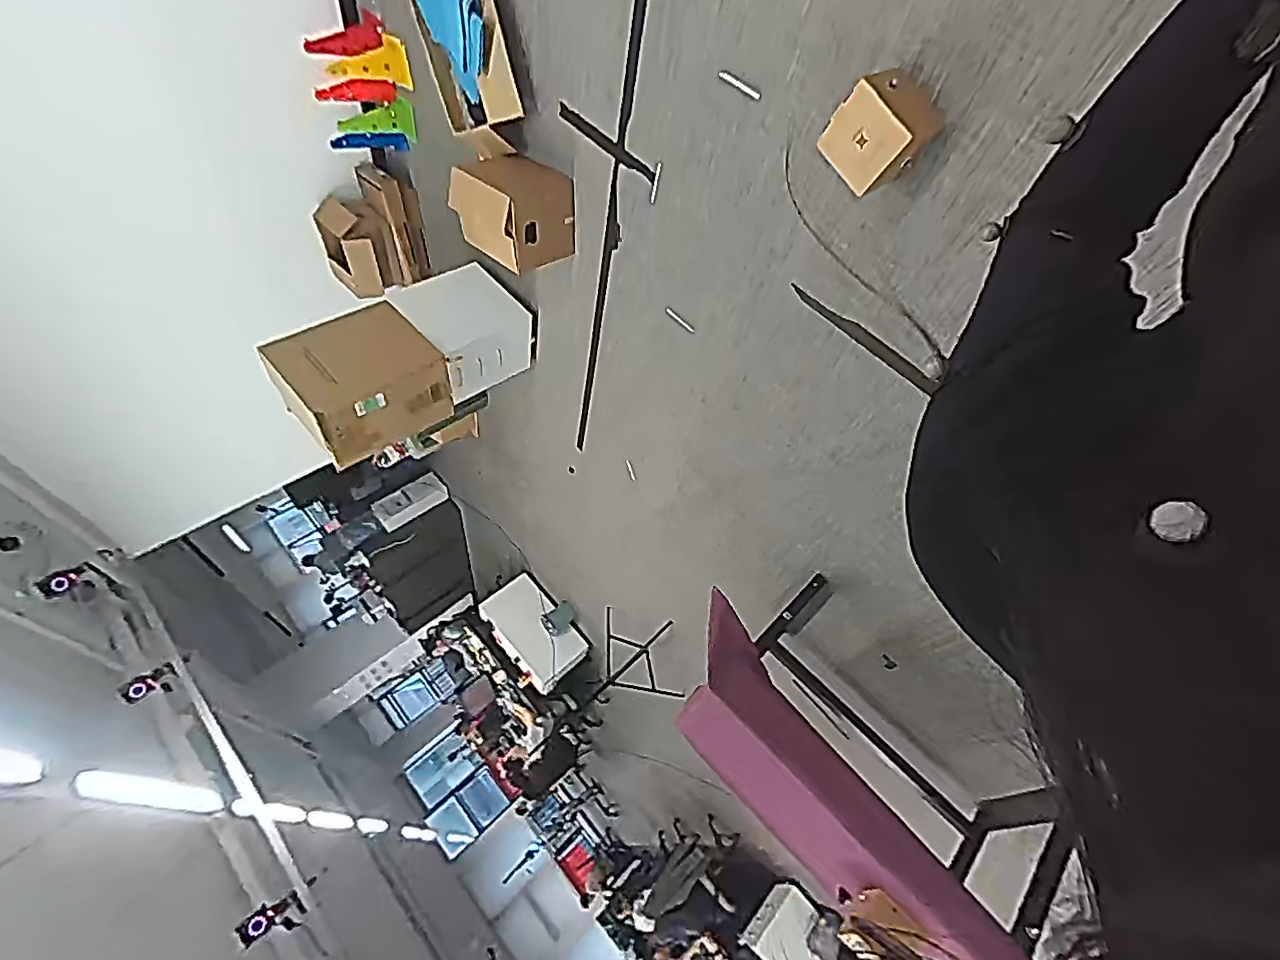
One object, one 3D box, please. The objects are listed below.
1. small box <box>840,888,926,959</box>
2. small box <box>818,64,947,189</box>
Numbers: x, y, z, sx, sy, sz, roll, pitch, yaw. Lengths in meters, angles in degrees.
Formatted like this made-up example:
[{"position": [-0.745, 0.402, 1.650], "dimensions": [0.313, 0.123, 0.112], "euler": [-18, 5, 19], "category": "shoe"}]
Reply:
[{"position": [0.786, 1.464, 1.745], "dimensions": [0.168, 0.176, 0.179], "euler": [39, 148, 26], "category": "small box"}, {"position": [0.559, -0.818, 1.247], "dimensions": [0.179, 0.176, 0.168], "euler": [52, 151, 4], "category": "small box"}]
